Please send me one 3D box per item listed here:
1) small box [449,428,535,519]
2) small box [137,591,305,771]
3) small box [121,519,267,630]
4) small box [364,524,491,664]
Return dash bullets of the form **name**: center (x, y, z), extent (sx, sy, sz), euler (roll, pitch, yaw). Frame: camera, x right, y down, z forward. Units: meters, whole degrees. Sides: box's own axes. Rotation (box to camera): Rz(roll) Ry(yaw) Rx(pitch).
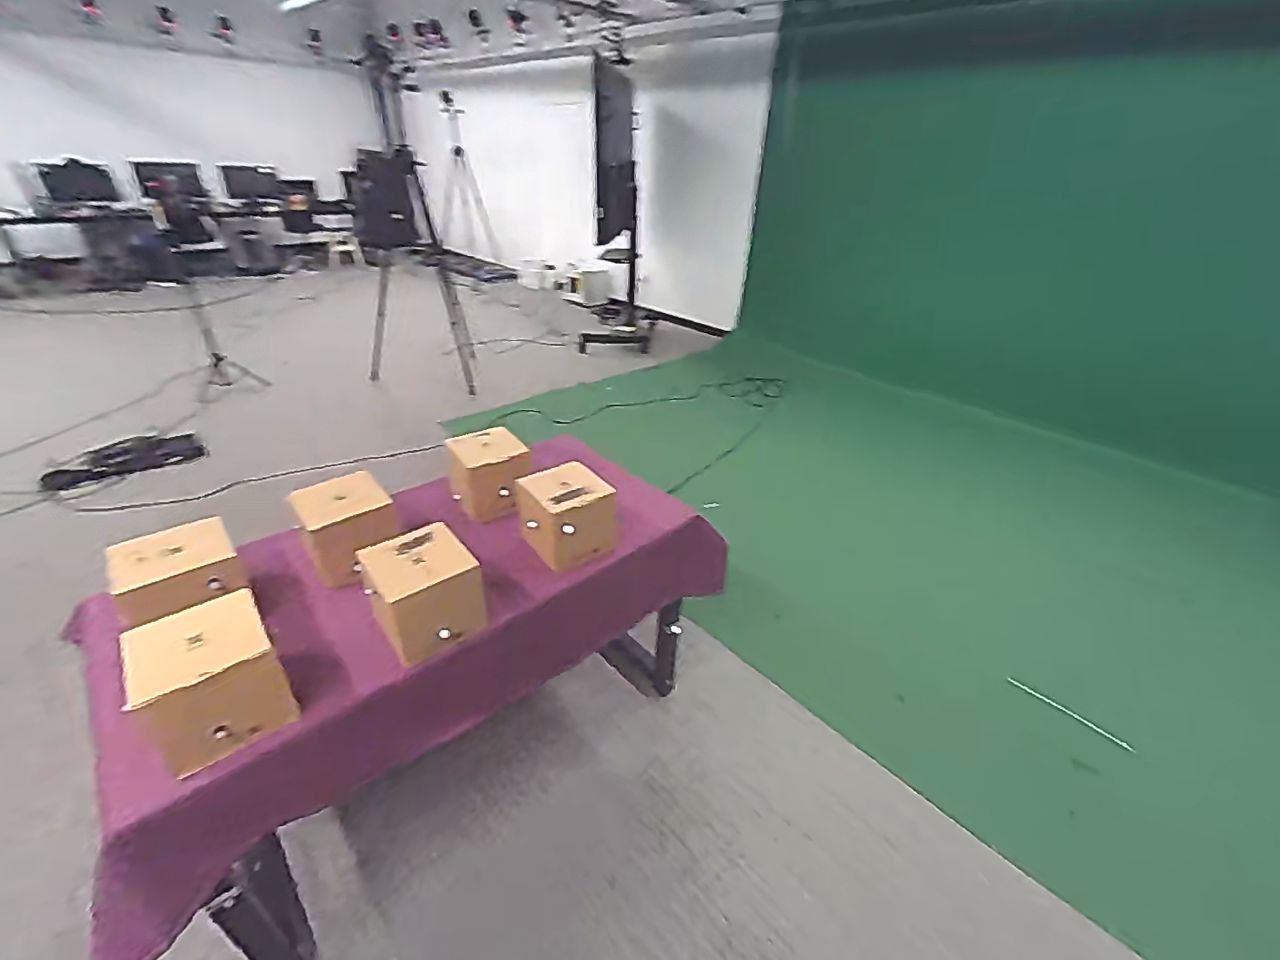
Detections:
- **small box**: center (-0.388, -0.014, 1.434), extent (0.168, 0.176, 0.179), euler (-18, 37, -31)
- **small box**: center (-0.670, 0.319, 0.872), extent (0.168, 0.176, 0.179), euler (-23, 39, -35)
- **small box**: center (-0.851, 0.208, 1.044), extent (0.179, 0.176, 0.168), euler (-23, 39, -35)
- **small box**: center (-0.409, 0.217, 1.050), extent (0.168, 0.176, 0.179), euler (-23, 39, -34)
